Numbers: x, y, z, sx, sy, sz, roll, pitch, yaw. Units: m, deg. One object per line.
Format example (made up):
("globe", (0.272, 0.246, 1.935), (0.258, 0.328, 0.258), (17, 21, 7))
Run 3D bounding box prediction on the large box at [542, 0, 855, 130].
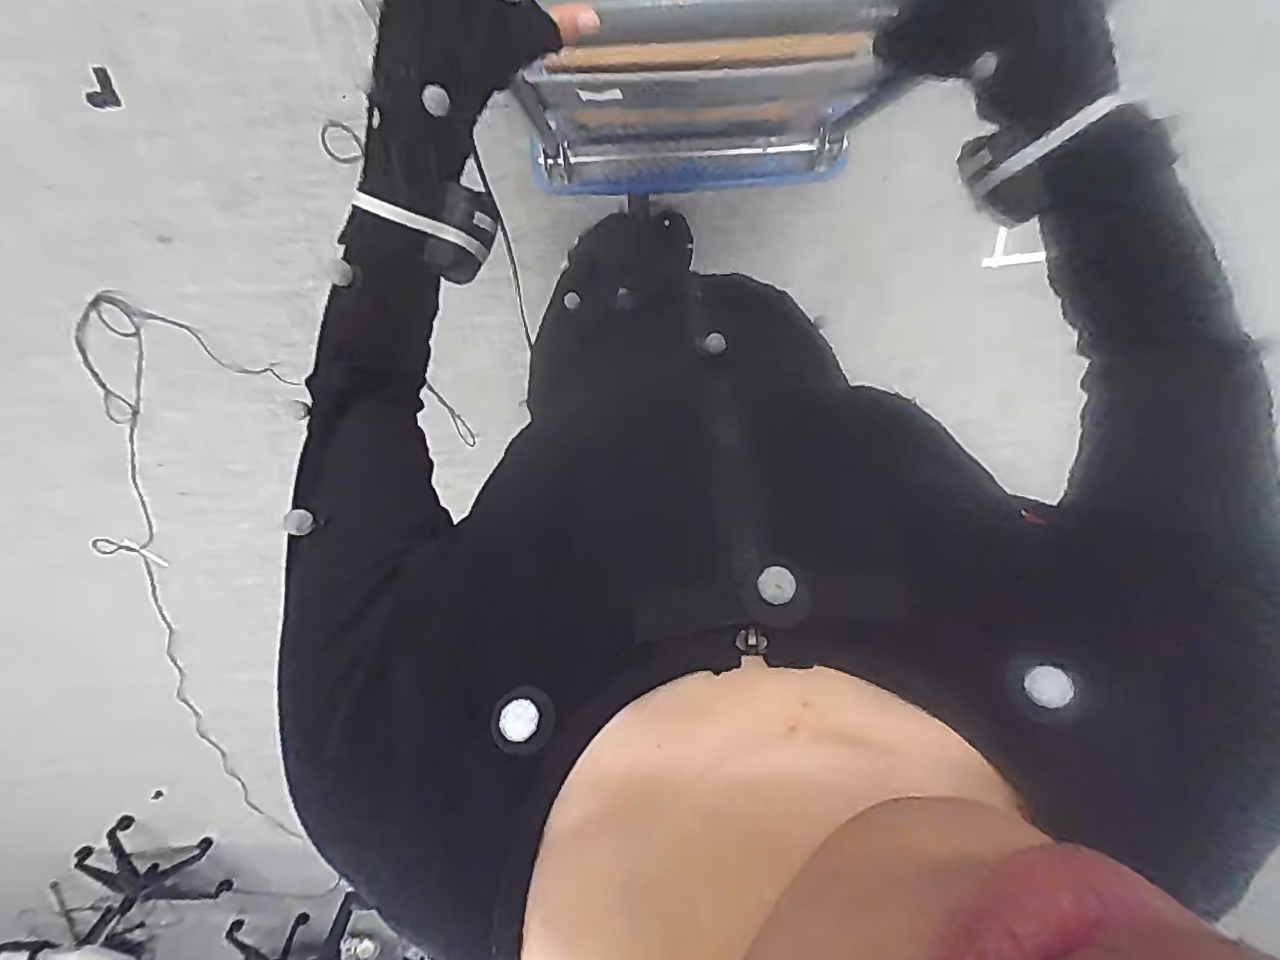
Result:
("large box", (0.066, -0.733, 0.789), (0.408, 0.320, 0.320), (-3, 112, -1))
